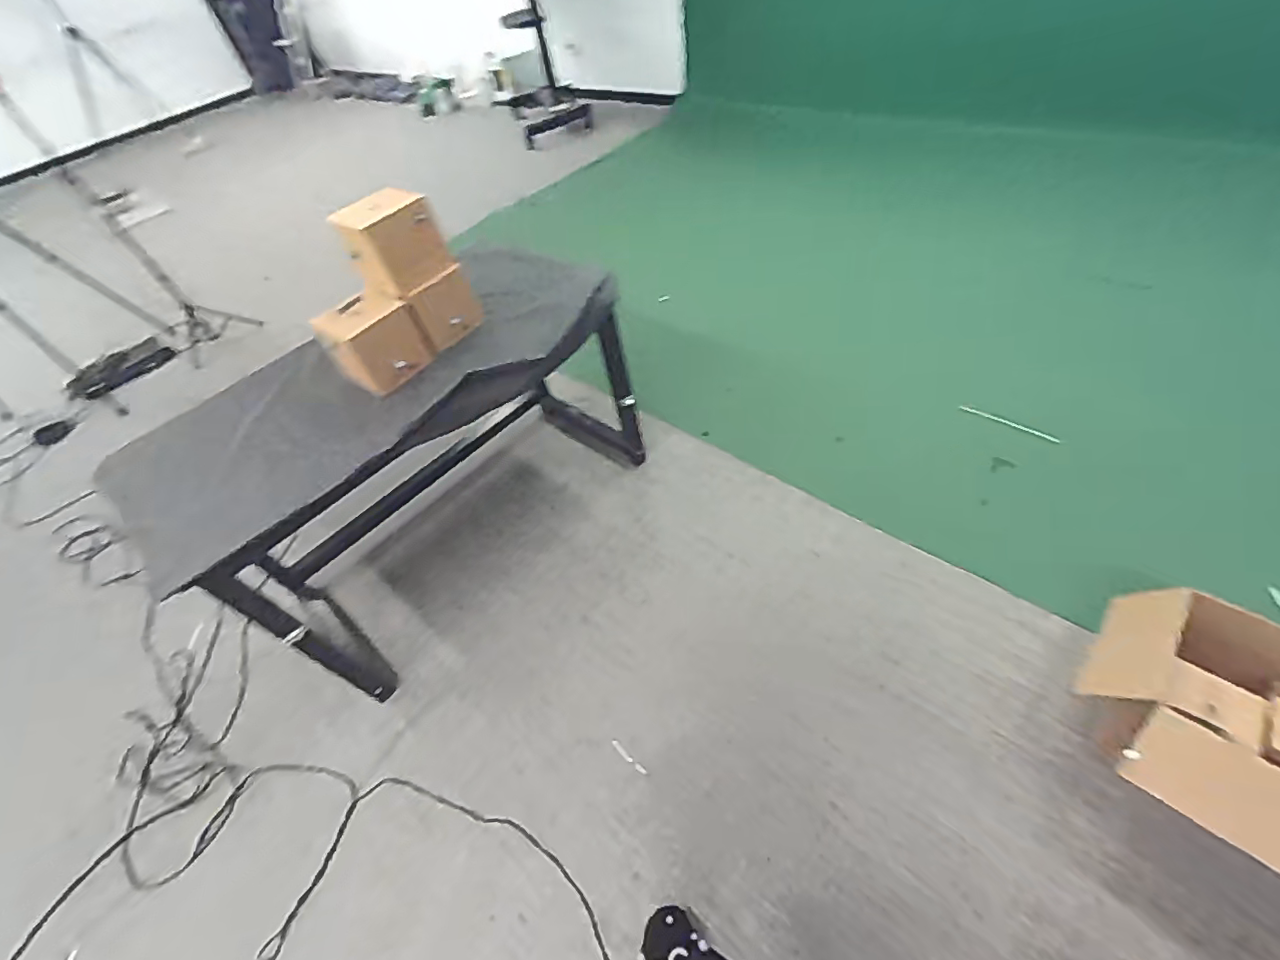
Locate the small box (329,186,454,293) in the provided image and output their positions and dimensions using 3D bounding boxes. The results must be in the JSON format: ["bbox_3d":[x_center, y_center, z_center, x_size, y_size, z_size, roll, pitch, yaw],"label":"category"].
[{"bbox_3d":[-0.582,-0.570,1.286,0.168,0.176,0.179,27,59,30],"label":"small box"}]
